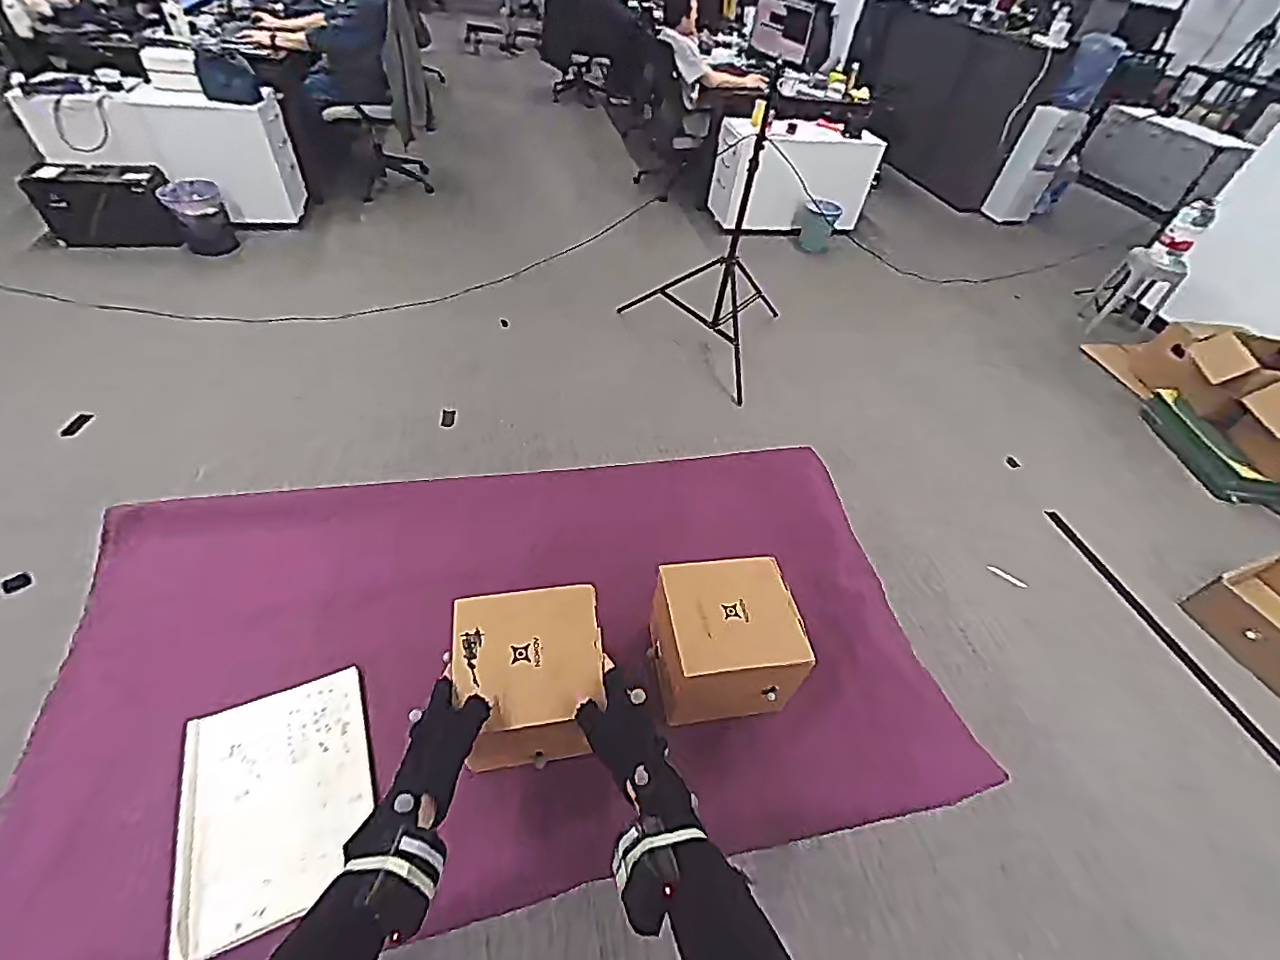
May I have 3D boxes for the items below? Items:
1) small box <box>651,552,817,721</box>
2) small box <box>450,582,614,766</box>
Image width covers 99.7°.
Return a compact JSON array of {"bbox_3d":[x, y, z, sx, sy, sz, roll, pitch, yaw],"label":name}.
[{"bbox_3d":[0.120,0.224,0.775,0.179,0.176,0.168,-5,46,-10],"label":"small box"},{"bbox_3d":[-0.135,0.249,0.690,0.179,0.176,0.168,-4,51,-10],"label":"small box"}]
